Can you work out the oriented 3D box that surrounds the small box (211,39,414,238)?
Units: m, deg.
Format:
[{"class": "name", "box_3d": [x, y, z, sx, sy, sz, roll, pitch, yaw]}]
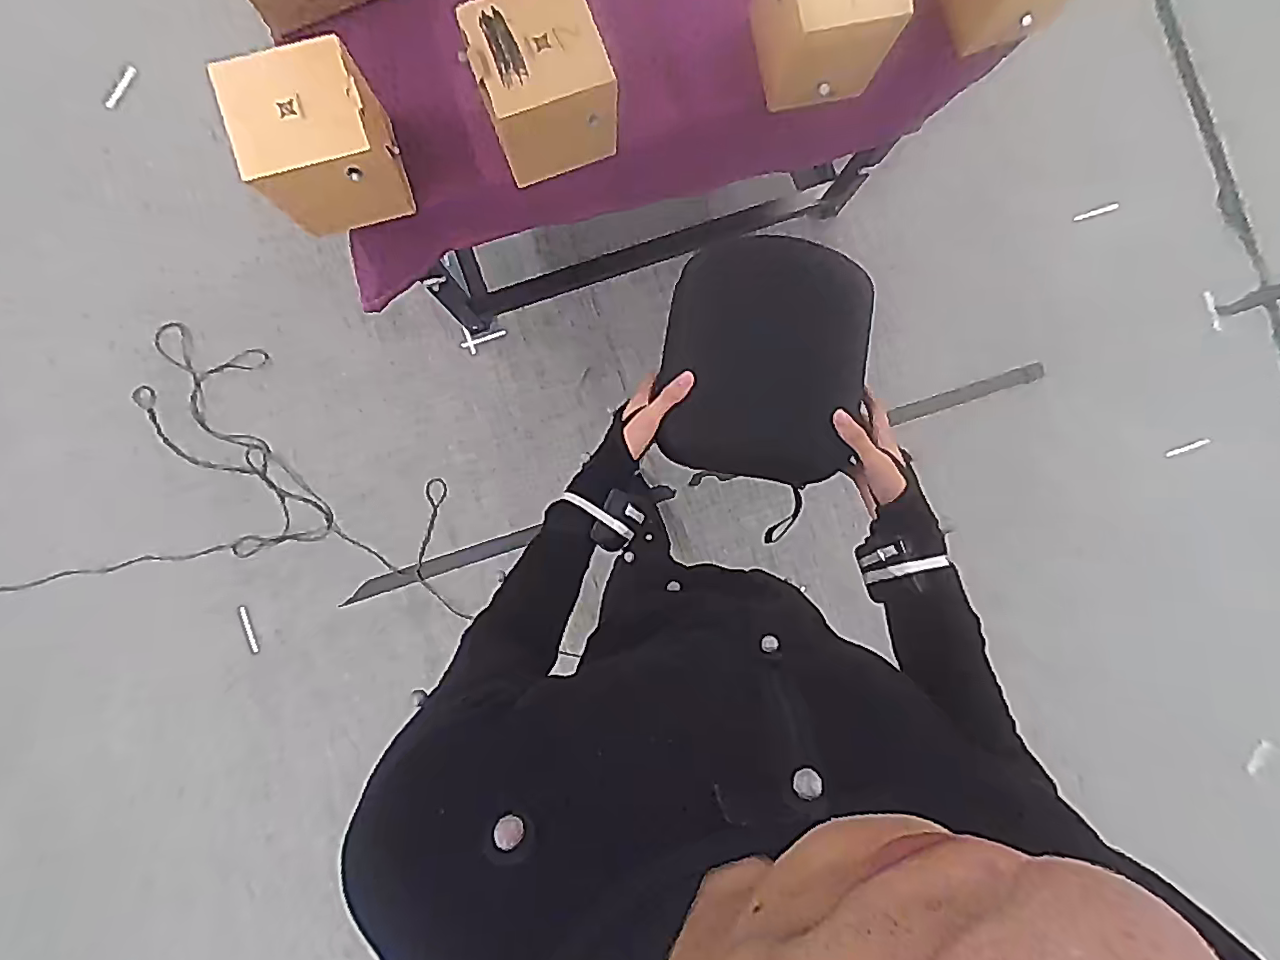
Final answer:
[{"class": "small box", "box_3d": [-0.467, -0.487, 0.798, 0.179, 0.176, 0.168, -17, 90, -4]}]

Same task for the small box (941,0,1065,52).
[{"class": "small box", "box_3d": [0.592, -0.837, 0.849, 0.168, 0.176, 0.179, -20, 91, -2]}]

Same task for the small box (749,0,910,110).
[{"class": "small box", "box_3d": [0.279, -0.722, 0.835, 0.168, 0.176, 0.179, -13, 92, -3]}]
